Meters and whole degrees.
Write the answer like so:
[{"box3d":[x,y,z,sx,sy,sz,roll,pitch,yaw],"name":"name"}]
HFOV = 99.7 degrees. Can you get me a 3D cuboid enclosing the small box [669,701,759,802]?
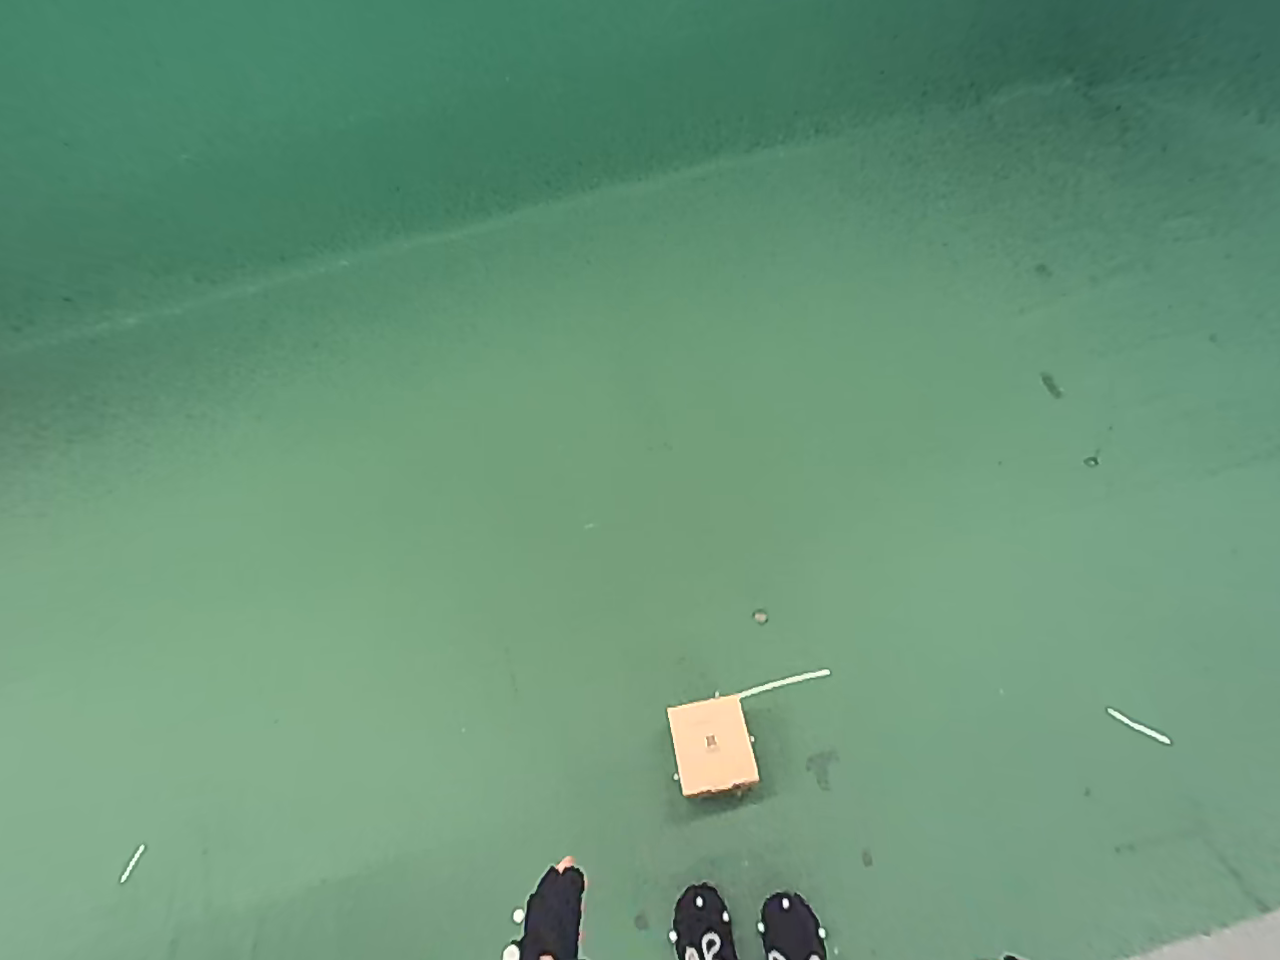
[{"box3d":[0.167,0.625,1.236,0.168,0.176,0.179,-12,56,0],"name":"small box"}]
